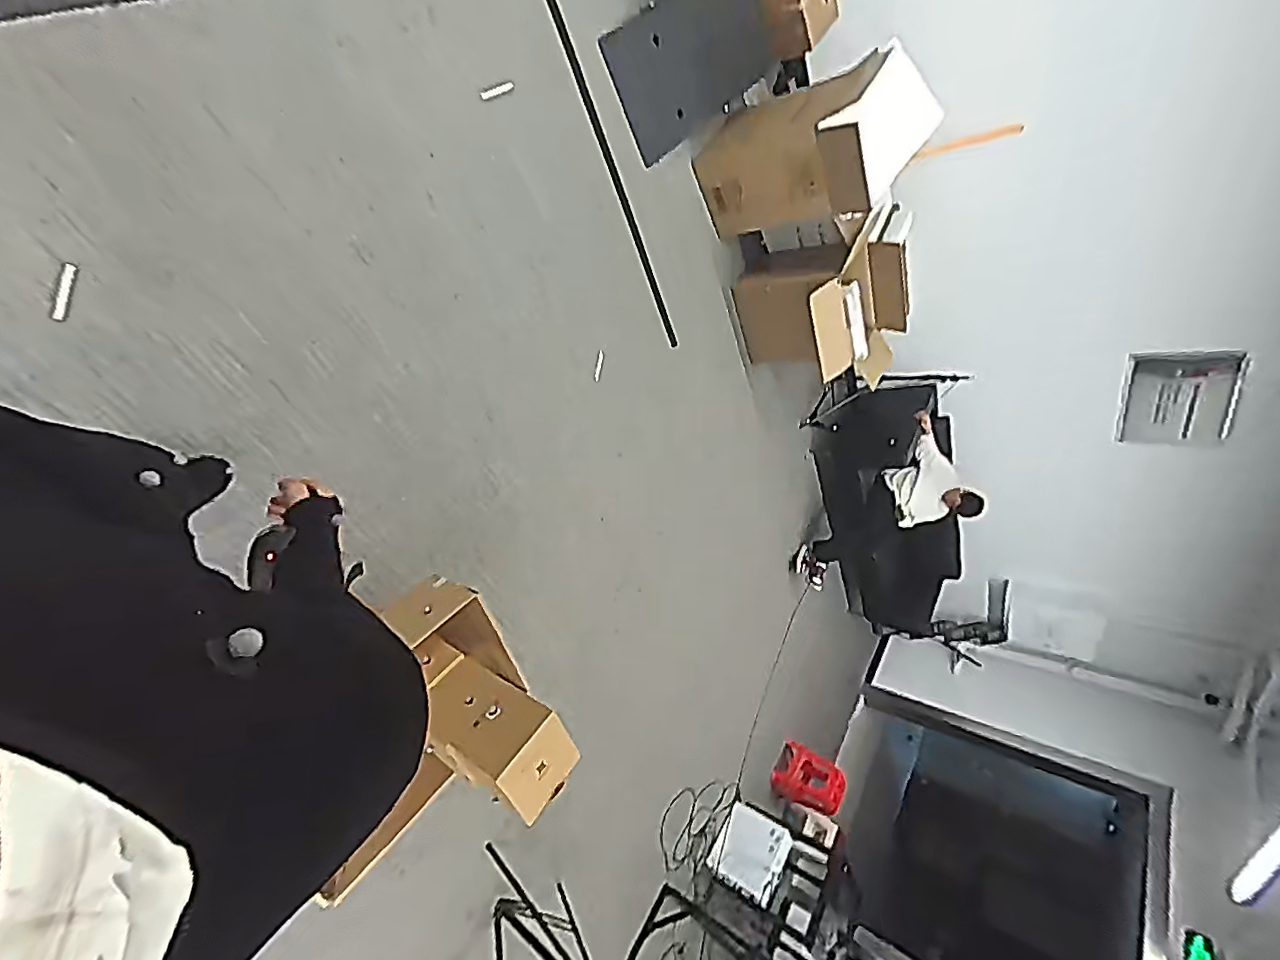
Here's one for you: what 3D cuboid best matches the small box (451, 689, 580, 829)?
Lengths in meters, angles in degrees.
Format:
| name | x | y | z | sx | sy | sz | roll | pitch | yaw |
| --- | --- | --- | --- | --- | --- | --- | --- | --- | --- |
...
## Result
| name | x | y | z | sx | sy | sz | roll | pitch | yaw |
| --- | --- | --- | --- | --- | --- | --- | --- | --- | --- |
| small box | -0.259 | 0.574 | 1.134 | 0.168 | 0.176 | 0.179 | -44 | 130 | -36 |

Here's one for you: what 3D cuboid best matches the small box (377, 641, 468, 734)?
| name | x | y | z | sx | sy | sz | roll | pitch | yaw |
| --- | --- | --- | --- | --- | --- | --- | --- | --- | --- |
| small box | -0.512 | 0.524 | 1.337 | 0.168 | 0.176 | 0.179 | -43 | 129 | -36 |

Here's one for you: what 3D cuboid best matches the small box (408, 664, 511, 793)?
| name | x | y | z | sx | sy | sz | roll | pitch | yaw |
| --- | --- | --- | --- | --- | --- | --- | --- | --- | --- |
| small box | -0.387 | 0.555 | 1.235 | 0.179 | 0.176 | 0.168 | -41 | 127 | -37 |
